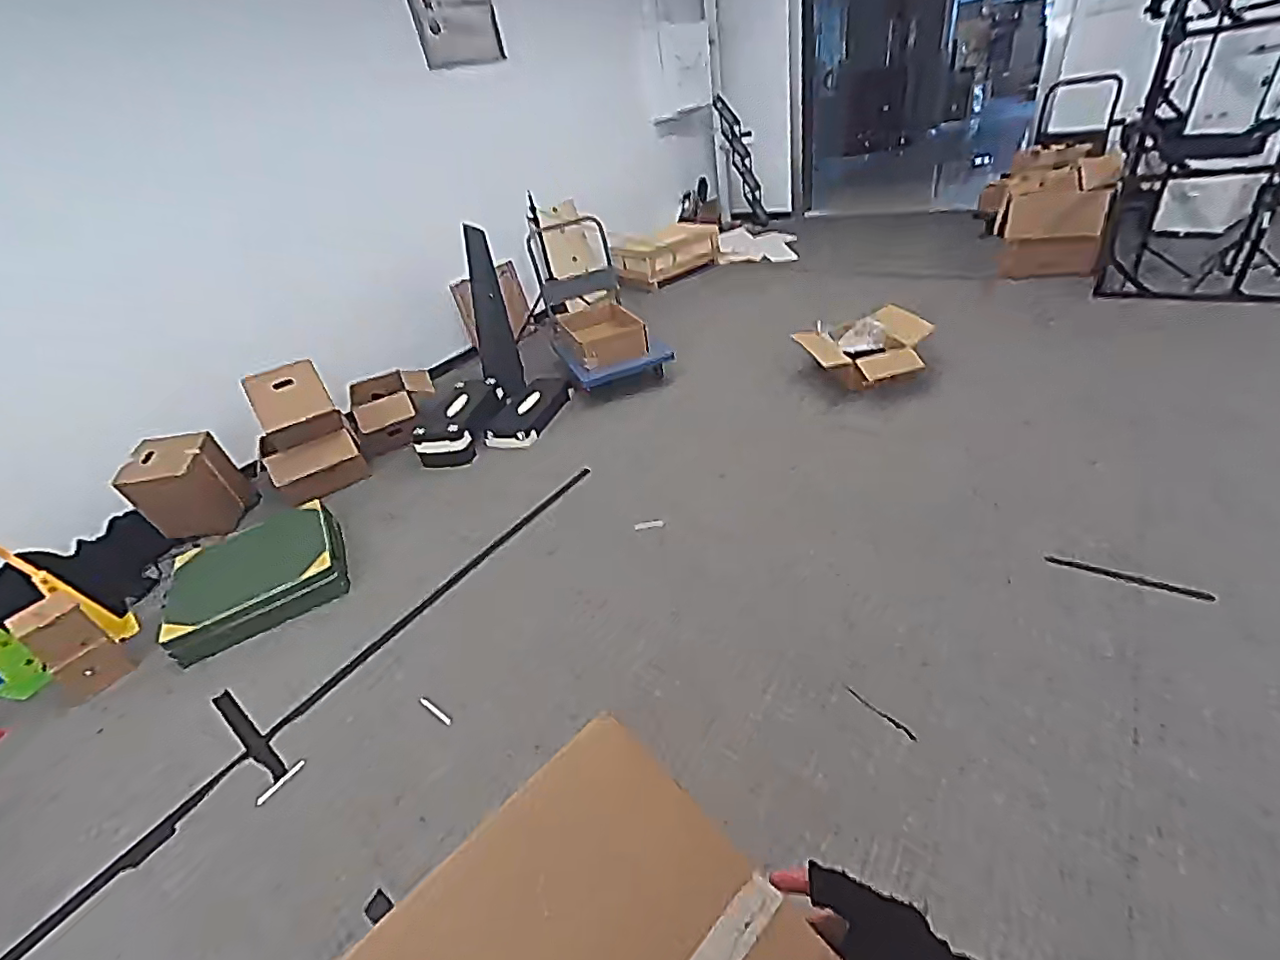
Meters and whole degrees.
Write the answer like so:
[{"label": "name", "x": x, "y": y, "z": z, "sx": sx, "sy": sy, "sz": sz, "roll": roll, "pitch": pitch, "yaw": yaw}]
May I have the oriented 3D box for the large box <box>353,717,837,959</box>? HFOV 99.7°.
[{"label": "large box", "x": -0.054, "y": 0.468, "z": 0.362, "sx": 0.408, "sy": 0.320, "sz": 0.320, "roll": -36, "pitch": 54, "yaw": -27}]
